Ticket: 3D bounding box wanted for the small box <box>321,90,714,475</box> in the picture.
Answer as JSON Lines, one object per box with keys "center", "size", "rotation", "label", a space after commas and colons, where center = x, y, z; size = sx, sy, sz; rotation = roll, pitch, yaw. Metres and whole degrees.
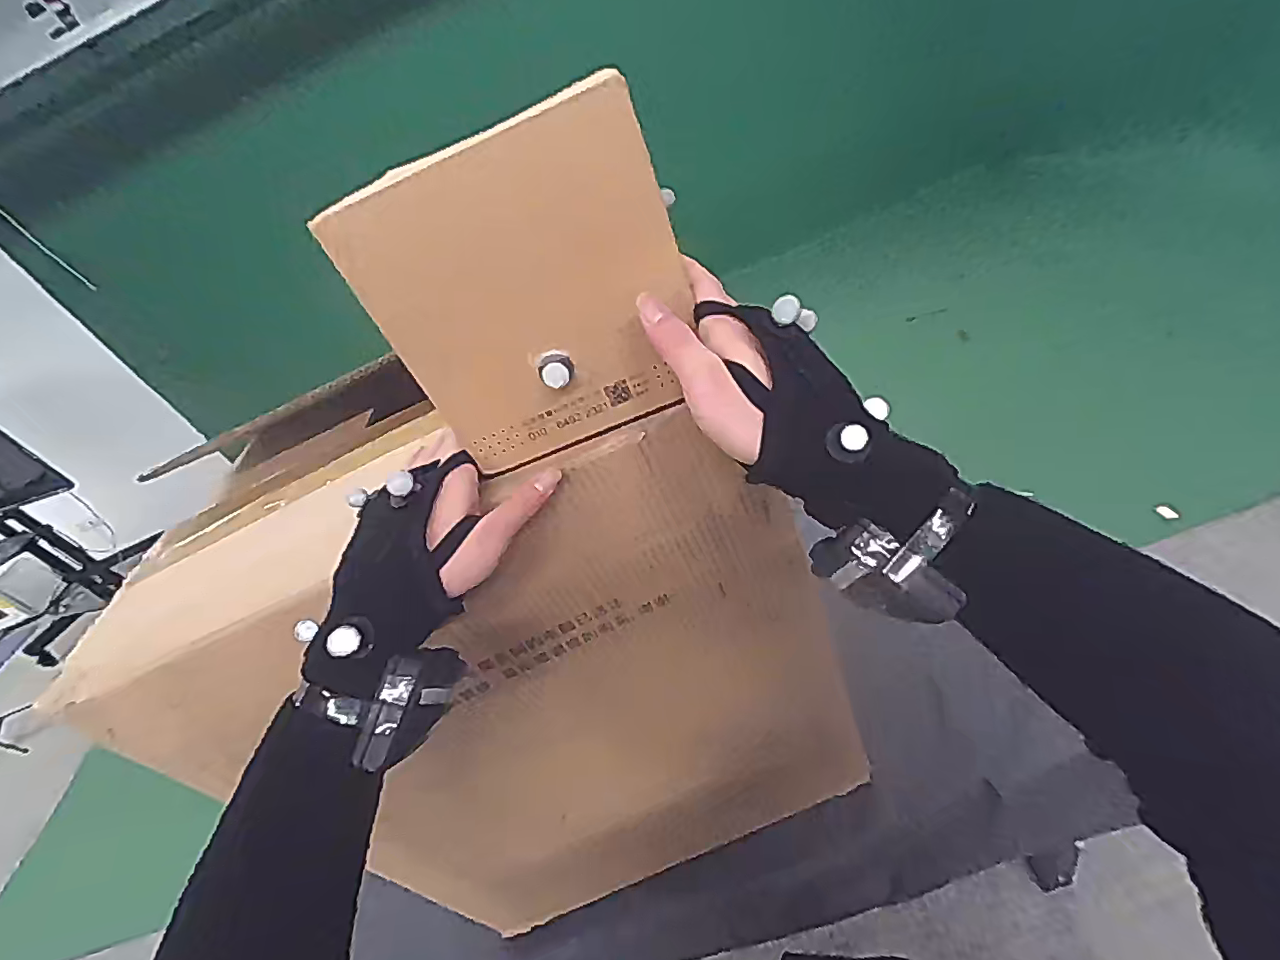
{"center": [-0.063, -0.133, 0.368], "size": [0.168, 0.176, 0.179], "rotation": [-21, 37, 7], "label": "small box"}
